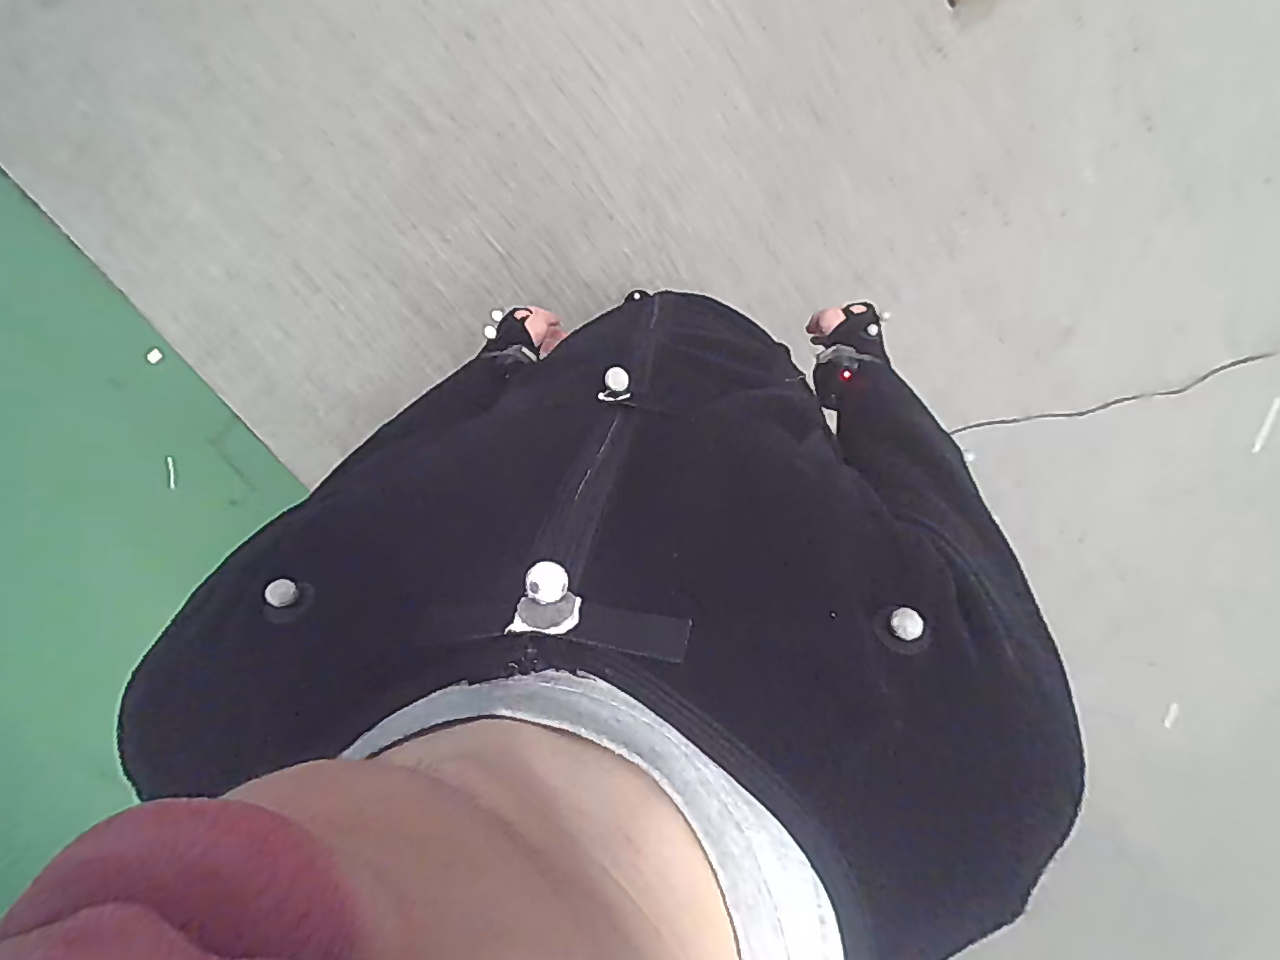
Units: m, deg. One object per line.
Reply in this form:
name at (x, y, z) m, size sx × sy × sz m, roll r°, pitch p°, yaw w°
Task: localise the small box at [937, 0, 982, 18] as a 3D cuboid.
small box at (0.703, -1.104, 1.094) m, size 0.168 × 0.176 × 0.179 m, roll -25°, pitch 105°, yaw 14°
